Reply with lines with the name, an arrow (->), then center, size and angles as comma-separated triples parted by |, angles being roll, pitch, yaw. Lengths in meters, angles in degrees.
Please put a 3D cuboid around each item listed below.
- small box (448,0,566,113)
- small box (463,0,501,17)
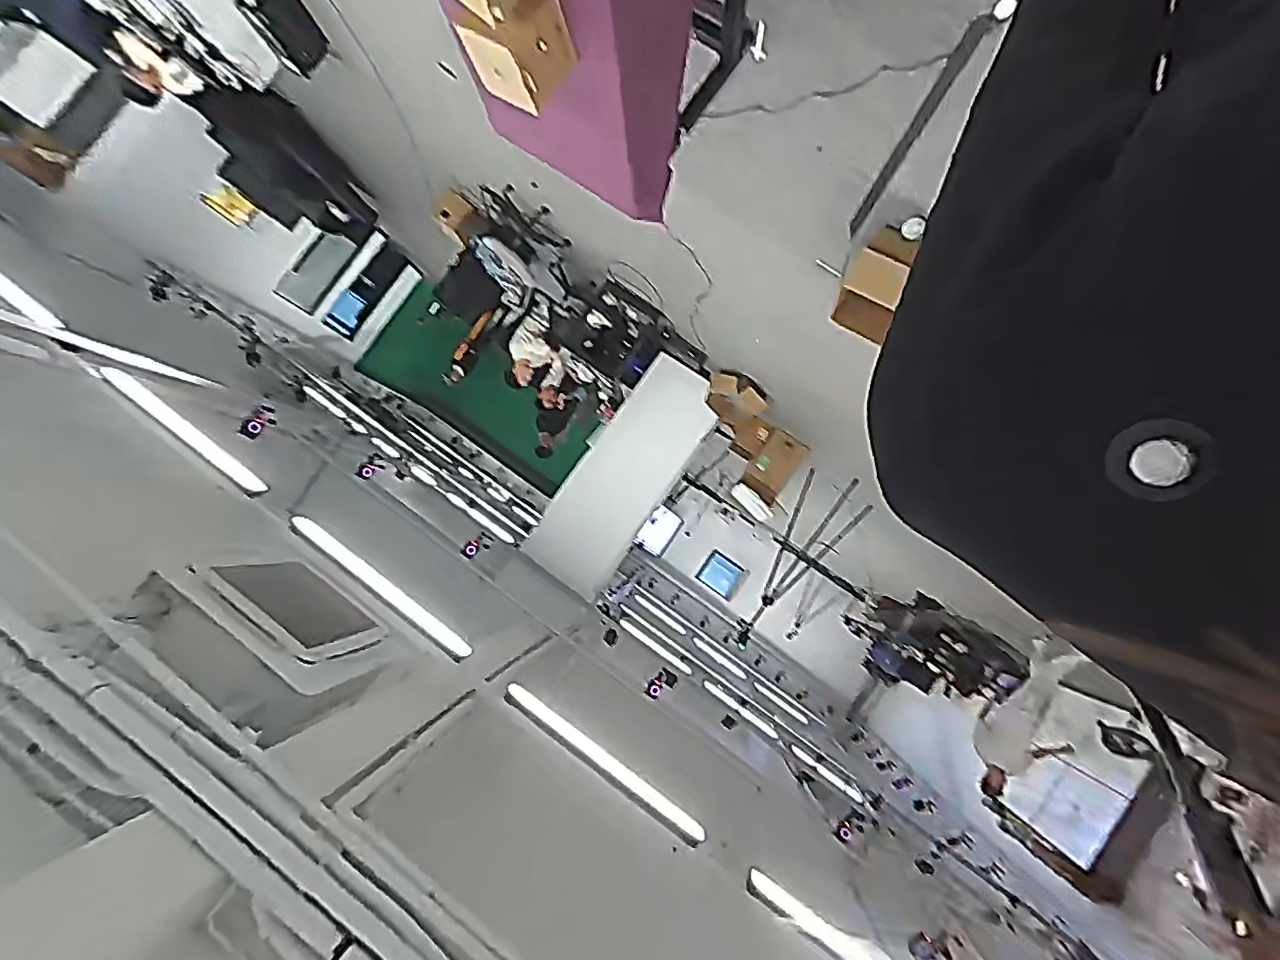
small box -> -0.291, -1.003, 1.238 | 0.179, 0.176, 0.168 | 35, 176, 15
small box -> -0.311, -1.030, 0.993 | 0.179, 0.176, 0.168 | 35, 177, 5
